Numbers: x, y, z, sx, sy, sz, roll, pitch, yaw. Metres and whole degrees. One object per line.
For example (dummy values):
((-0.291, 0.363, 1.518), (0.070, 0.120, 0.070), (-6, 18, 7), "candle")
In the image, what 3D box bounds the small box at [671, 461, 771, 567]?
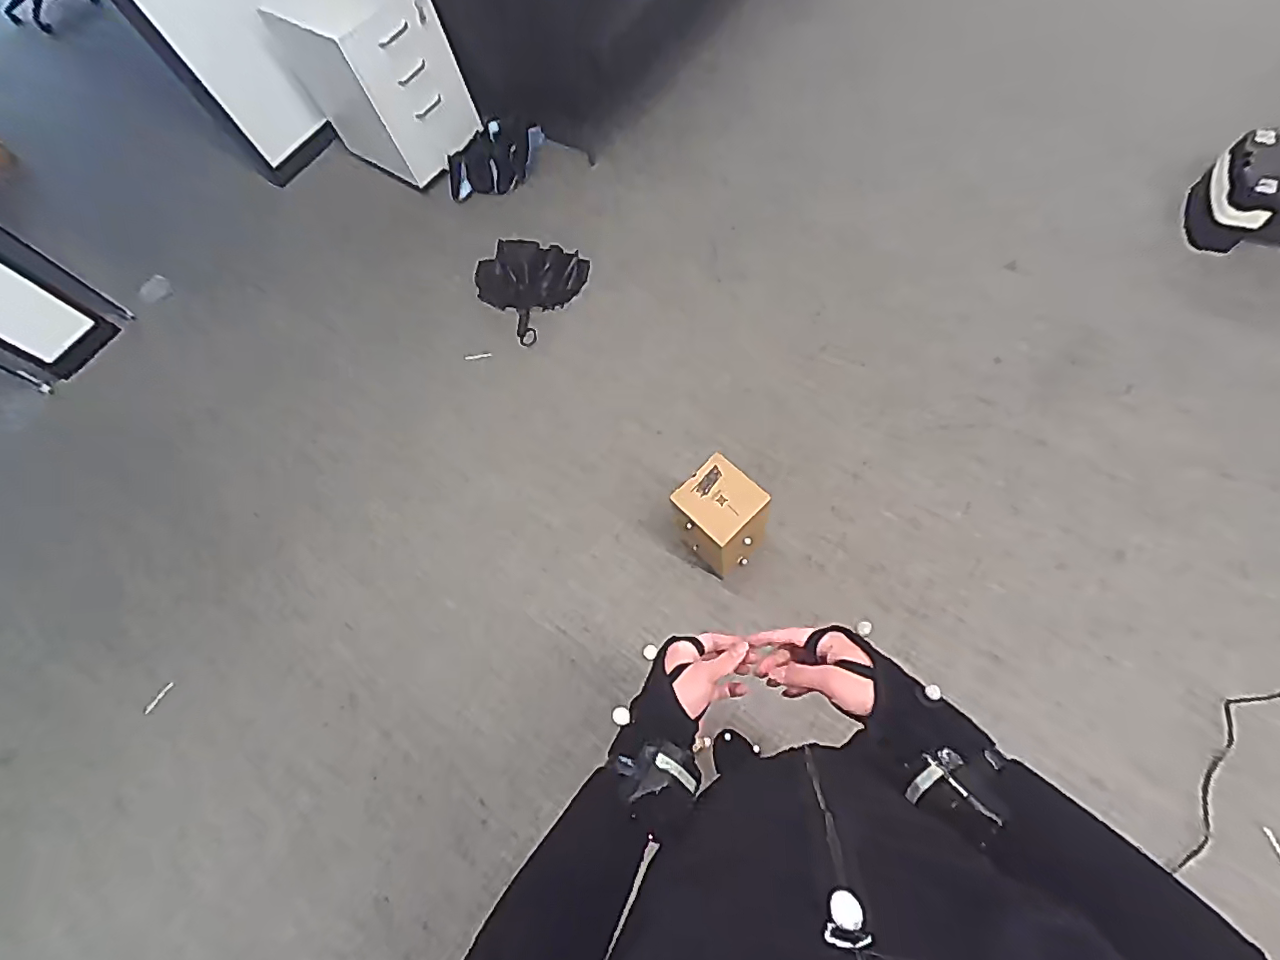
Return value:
((0.198, 0.090, 1.334), (0.168, 0.176, 0.179), (-42, 68, -9), "small box")

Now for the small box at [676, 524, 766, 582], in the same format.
((0.220, 0.156, 1.484), (0.168, 0.176, 0.179), (-44, 69, -10), "small box")
